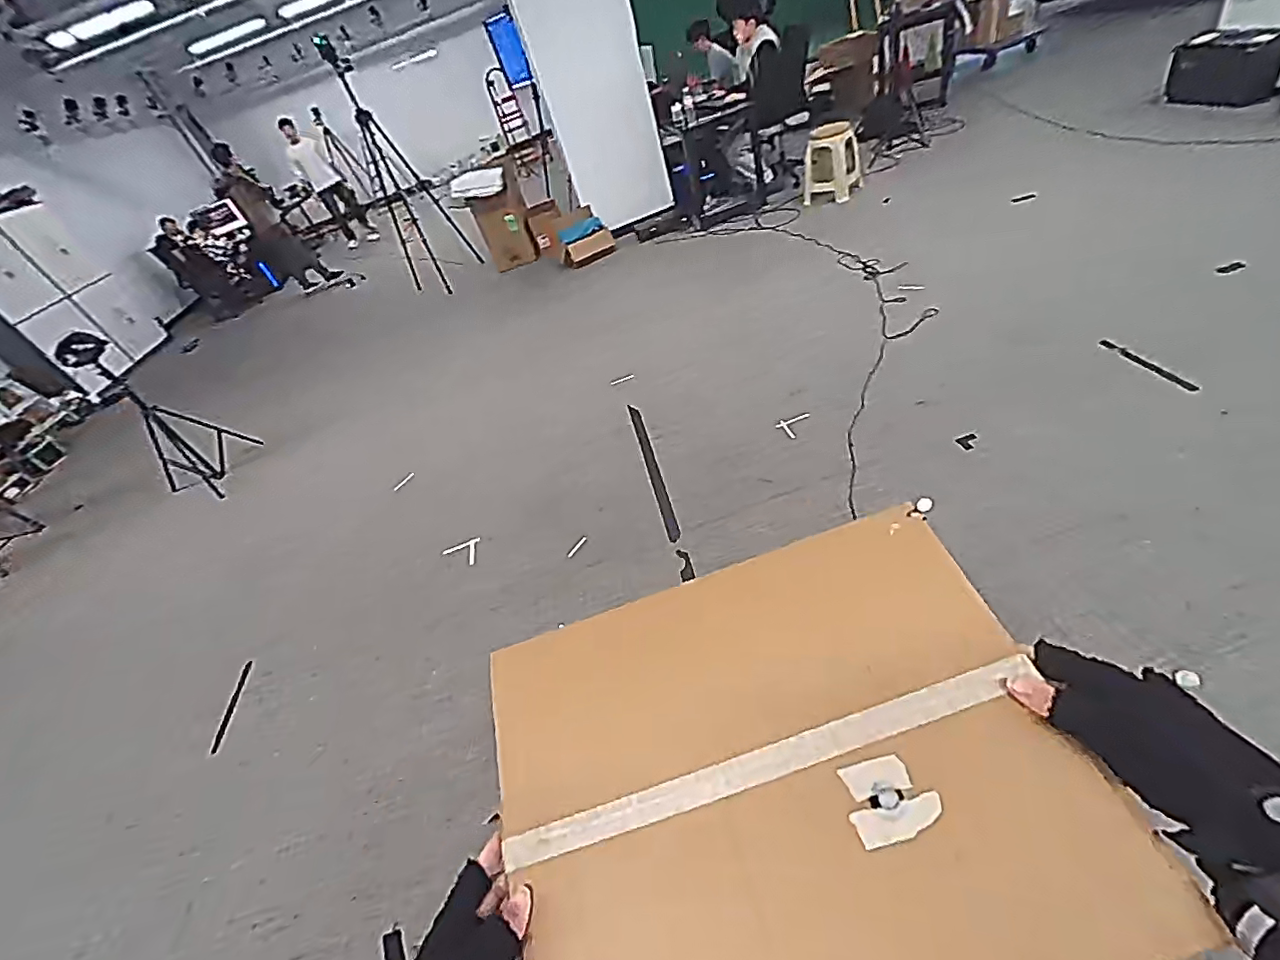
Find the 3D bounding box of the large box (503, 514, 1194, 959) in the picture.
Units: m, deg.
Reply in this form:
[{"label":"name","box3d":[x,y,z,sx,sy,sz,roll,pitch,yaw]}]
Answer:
[{"label":"large box","box3d":[0.130,0.298,0.521,0.408,0.320,0.320,-20,52,1]}]
